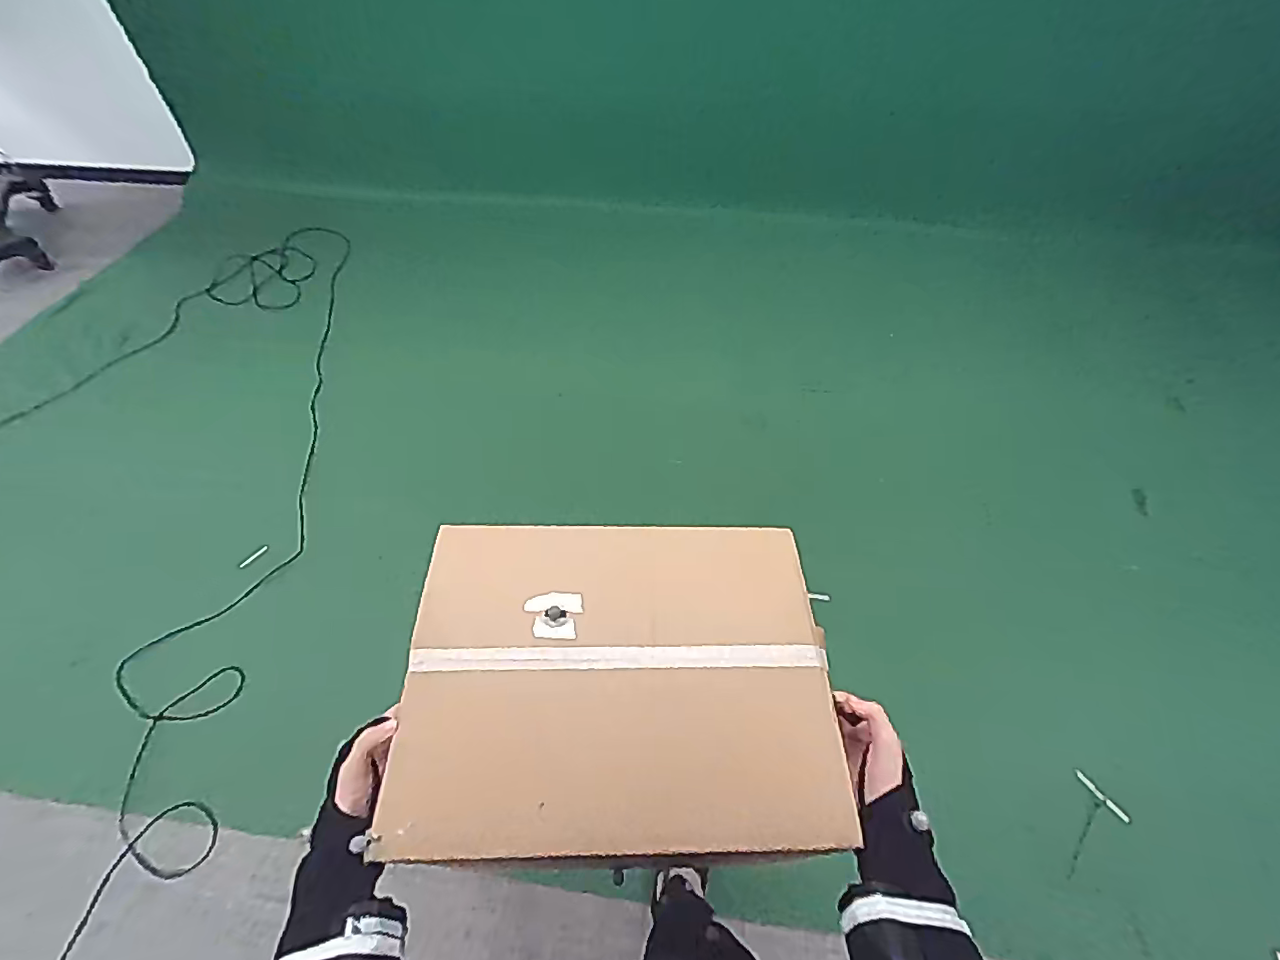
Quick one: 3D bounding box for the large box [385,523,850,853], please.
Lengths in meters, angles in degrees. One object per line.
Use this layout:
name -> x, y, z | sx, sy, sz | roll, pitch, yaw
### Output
large box -> -0.023, 0.263, 0.663 | 0.408, 0.320, 0.320 | 0, 53, -2
